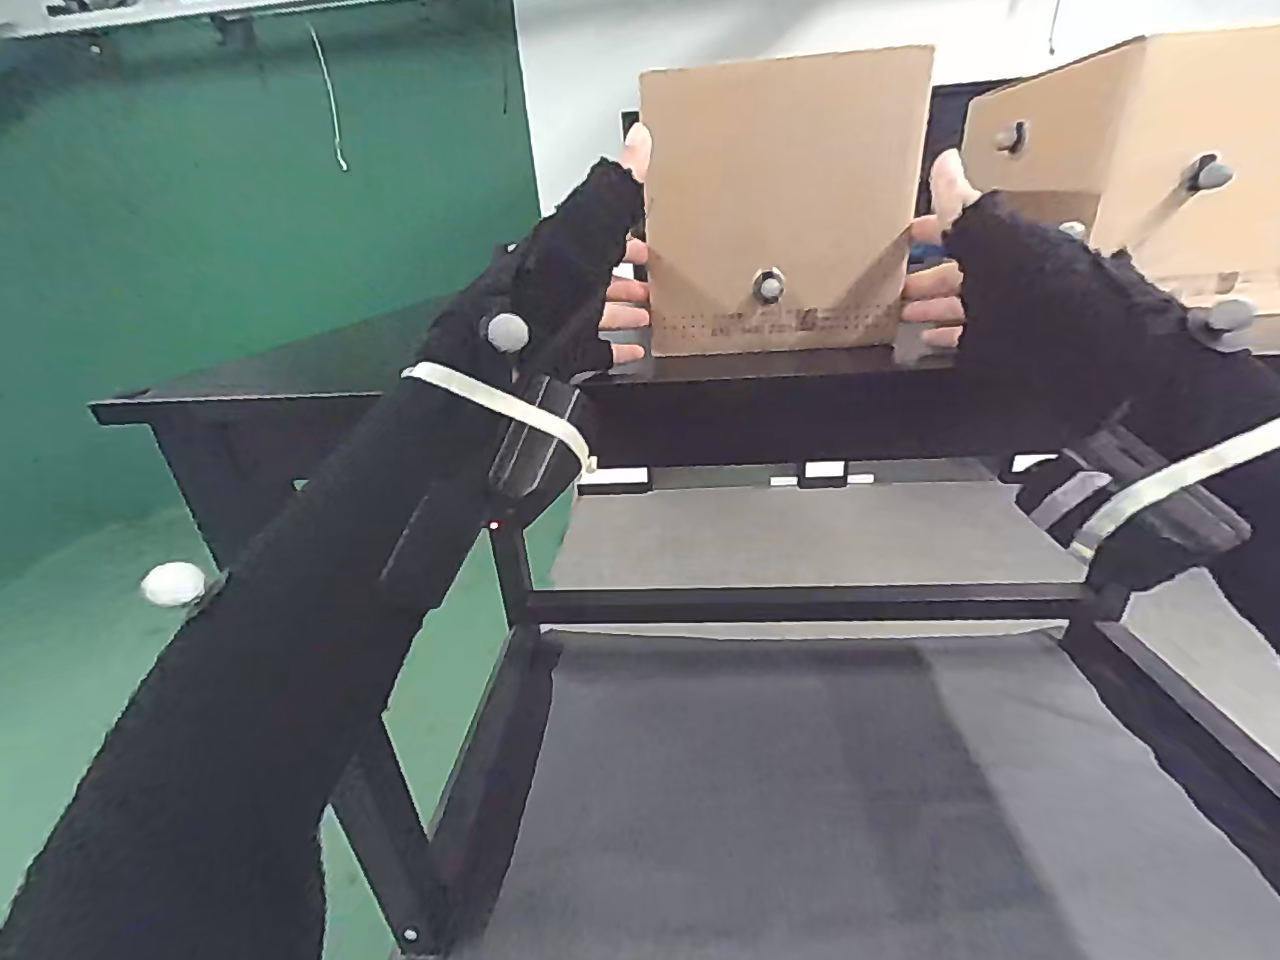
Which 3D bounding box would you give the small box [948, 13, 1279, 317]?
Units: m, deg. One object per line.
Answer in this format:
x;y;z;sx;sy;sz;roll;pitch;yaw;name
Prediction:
0.368;-0.221;0.410;0.168;0.176;0.179;-4;25;1;small box
